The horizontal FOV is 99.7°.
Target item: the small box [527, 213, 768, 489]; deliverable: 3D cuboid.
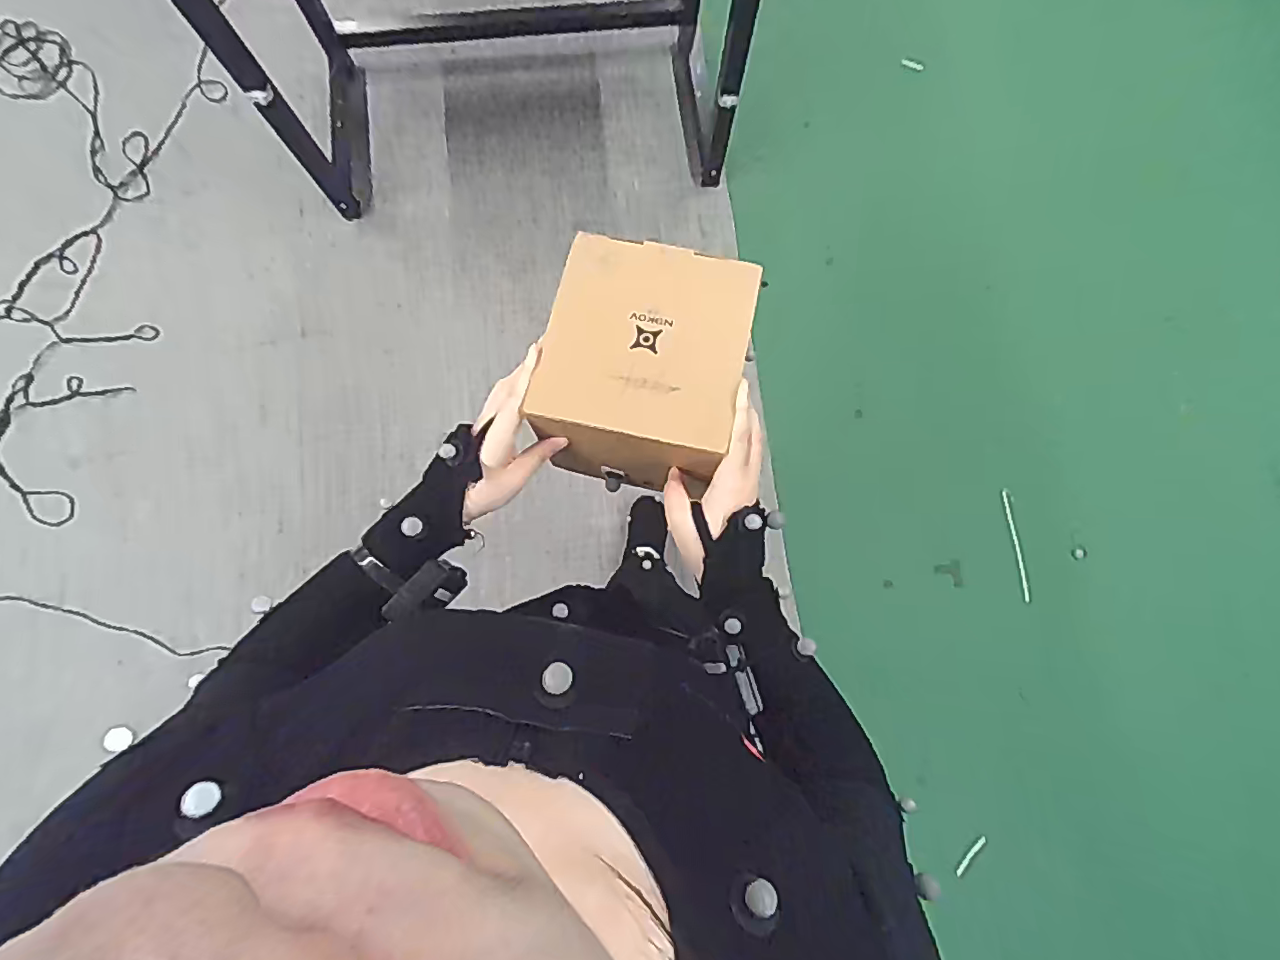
[{"bbox_3d":[0.009,-0.107,0.510,0.168,0.176,0.179,13,76,3],"label":"small box"}]
